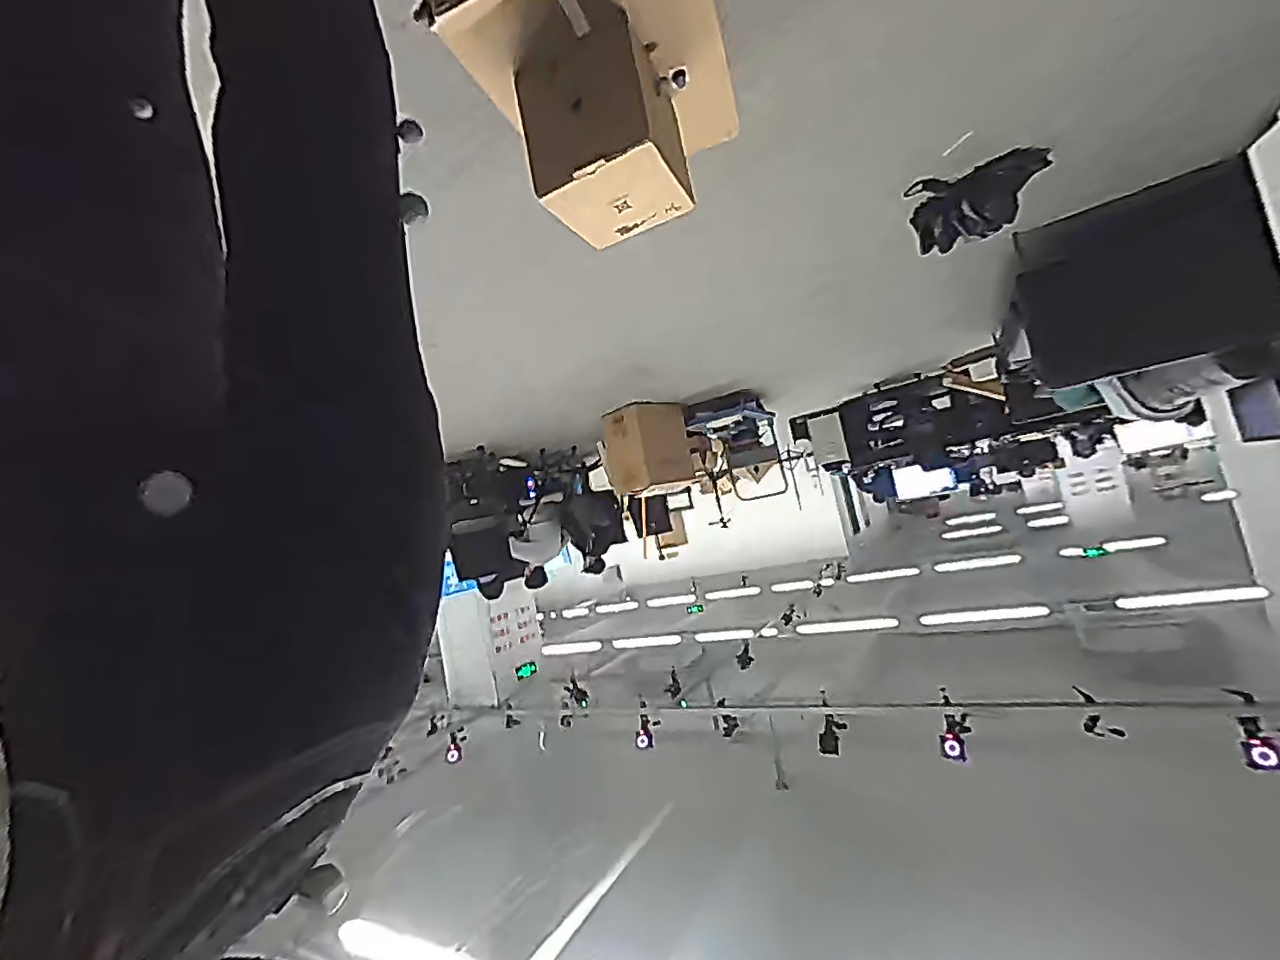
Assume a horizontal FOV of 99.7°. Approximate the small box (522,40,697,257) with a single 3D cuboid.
[{"bbox_3d":[-0.039,-0.446,0.741,0.168,0.176,0.179,-14,174,23],"label":"small box"}]
